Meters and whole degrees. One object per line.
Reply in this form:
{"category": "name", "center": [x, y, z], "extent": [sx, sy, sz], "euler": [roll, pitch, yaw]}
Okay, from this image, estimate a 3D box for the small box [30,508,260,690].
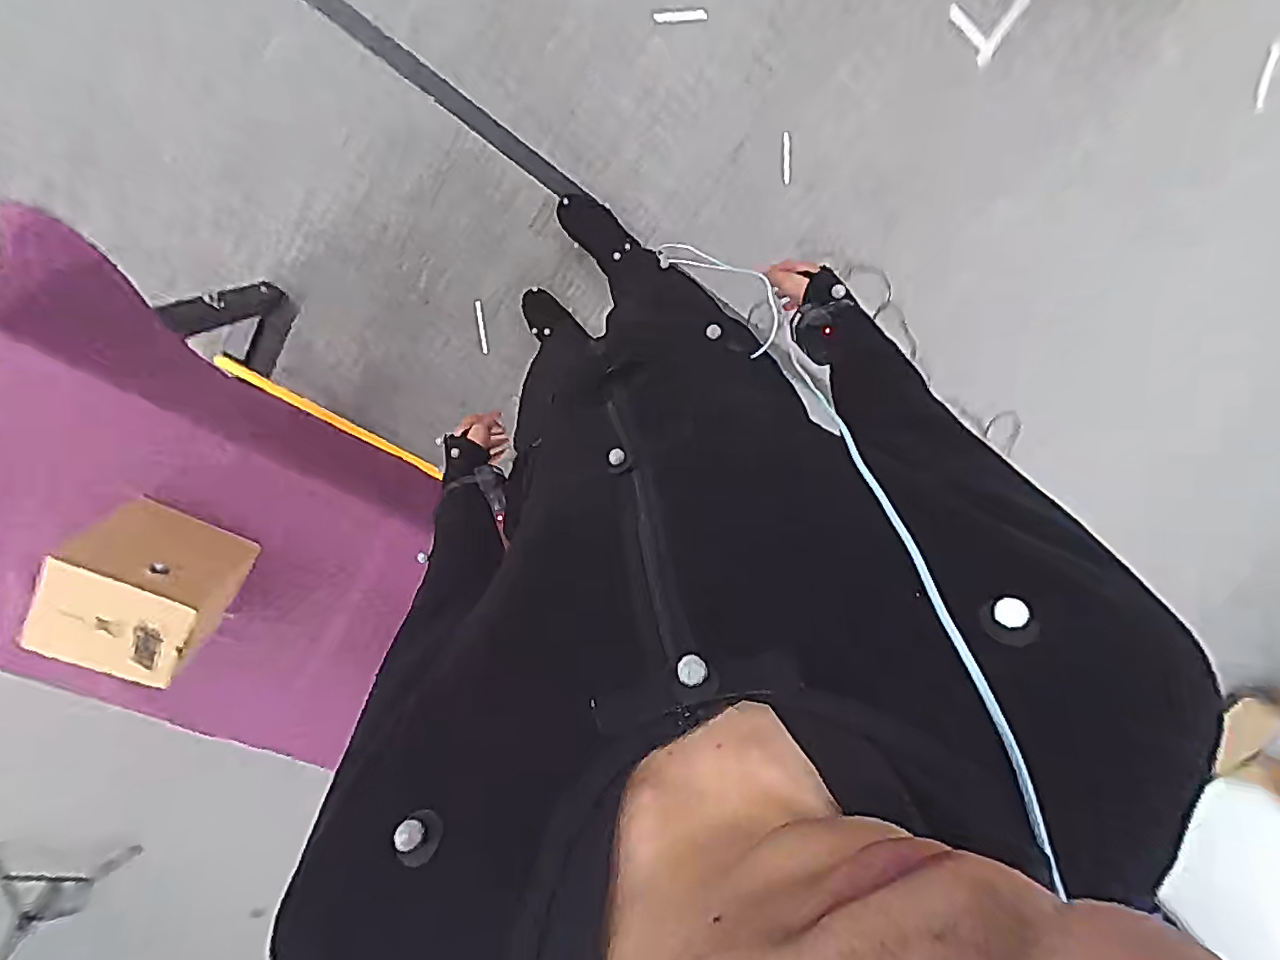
{"category": "small box", "center": [-0.712, 0.168, 0.799], "extent": [0.179, 0.176, 0.168], "euler": [30, 109, -19]}
